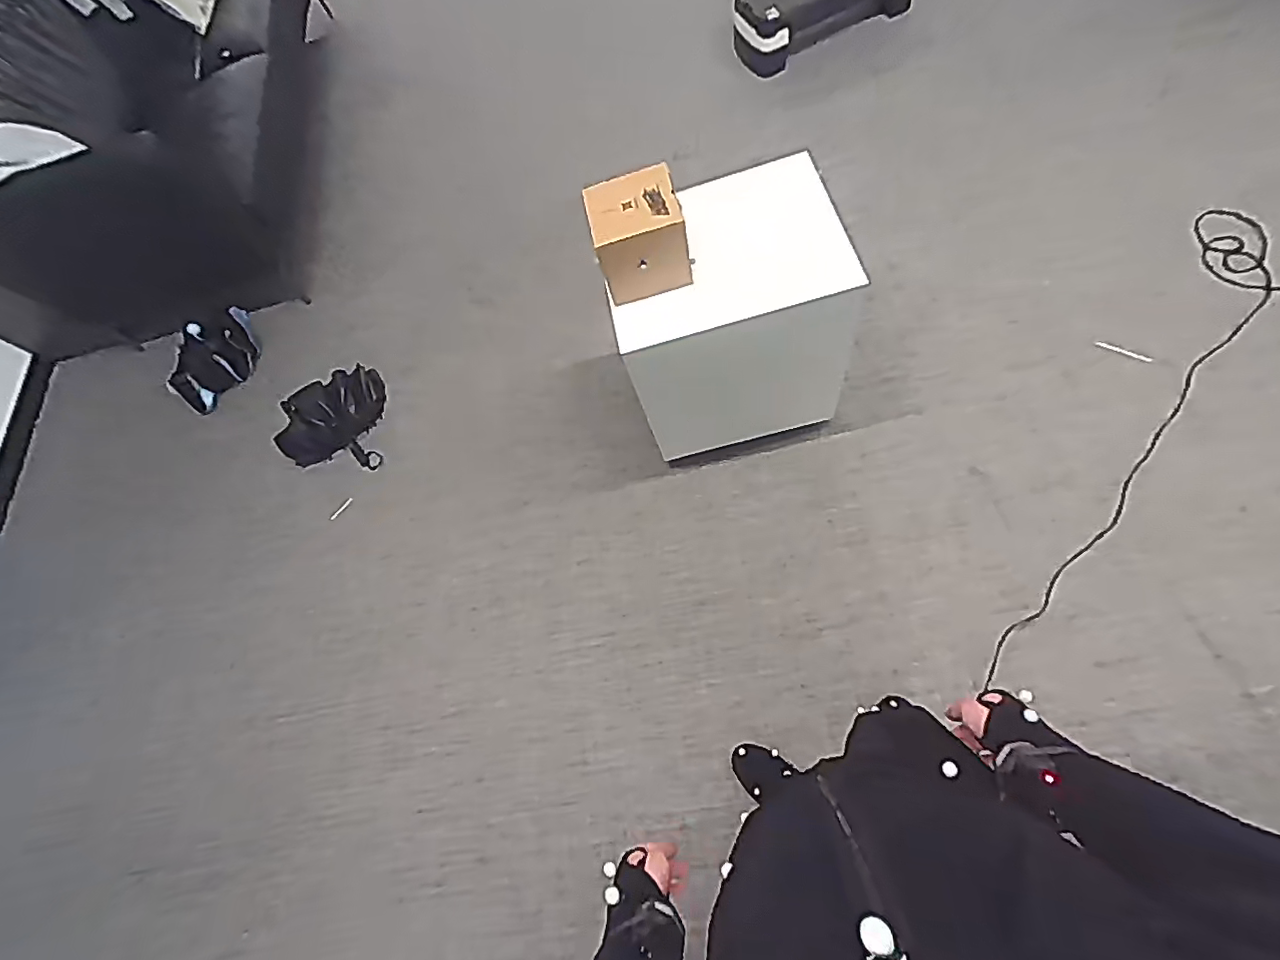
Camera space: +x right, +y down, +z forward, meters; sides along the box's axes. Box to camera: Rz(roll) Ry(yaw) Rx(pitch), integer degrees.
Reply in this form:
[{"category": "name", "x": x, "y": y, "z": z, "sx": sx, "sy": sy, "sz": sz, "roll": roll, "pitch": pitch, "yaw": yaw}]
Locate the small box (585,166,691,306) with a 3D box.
[{"category": "small box", "x": 0.003, "y": -0.489, "z": 1.104, "sx": 0.179, "sy": 0.176, "sz": 0.168, "roll": -15, "pitch": 65, "yaw": 6}]
